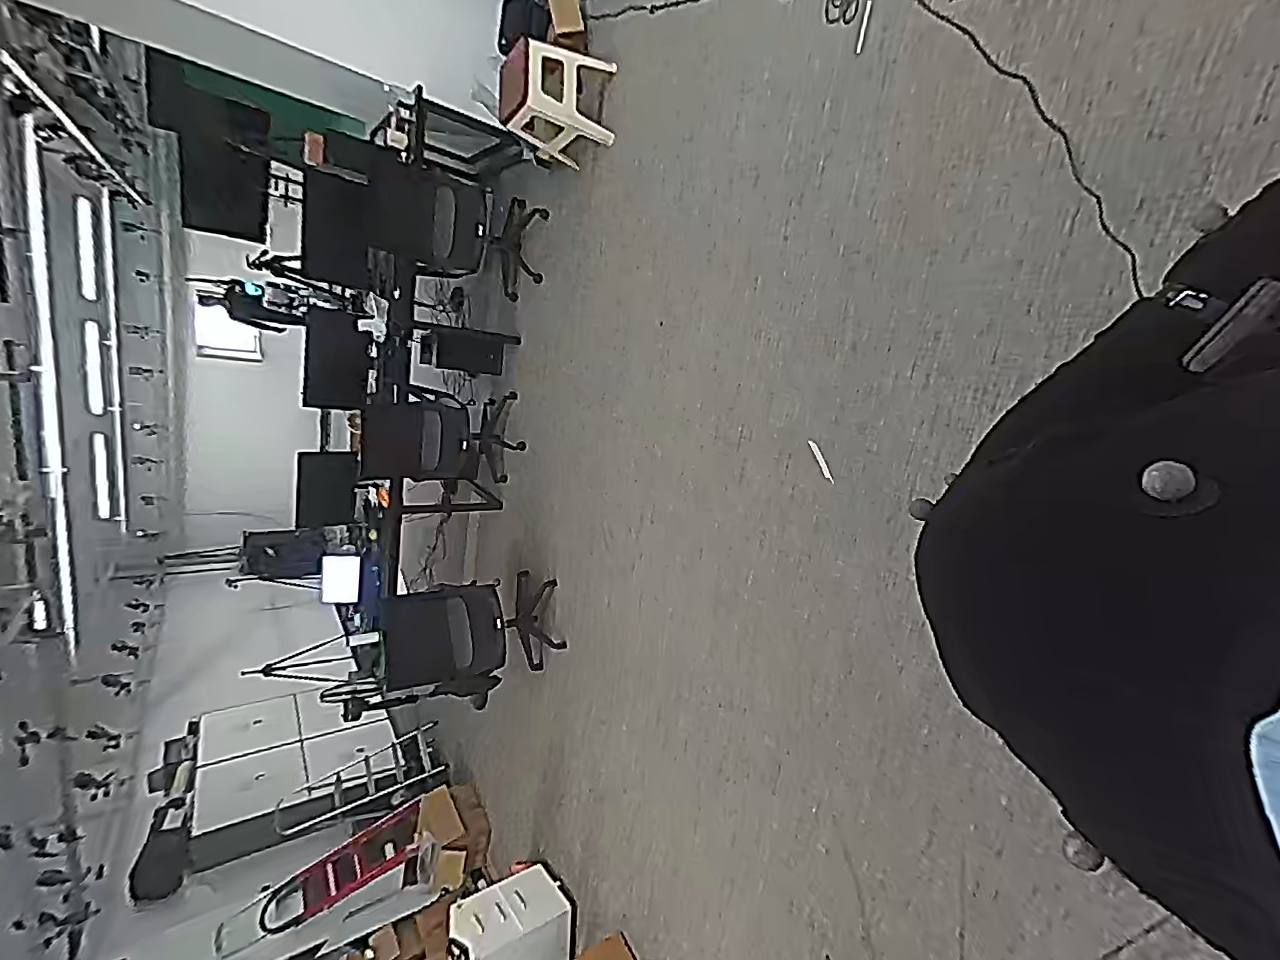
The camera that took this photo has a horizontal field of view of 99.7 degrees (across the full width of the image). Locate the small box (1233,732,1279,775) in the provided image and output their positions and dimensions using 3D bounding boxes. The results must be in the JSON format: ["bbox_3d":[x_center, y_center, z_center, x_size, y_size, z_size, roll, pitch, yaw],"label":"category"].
[{"bbox_3d":[1.137,0.575,0.938,0.168,0.176,0.179,22,109,51],"label":"small box"}]
